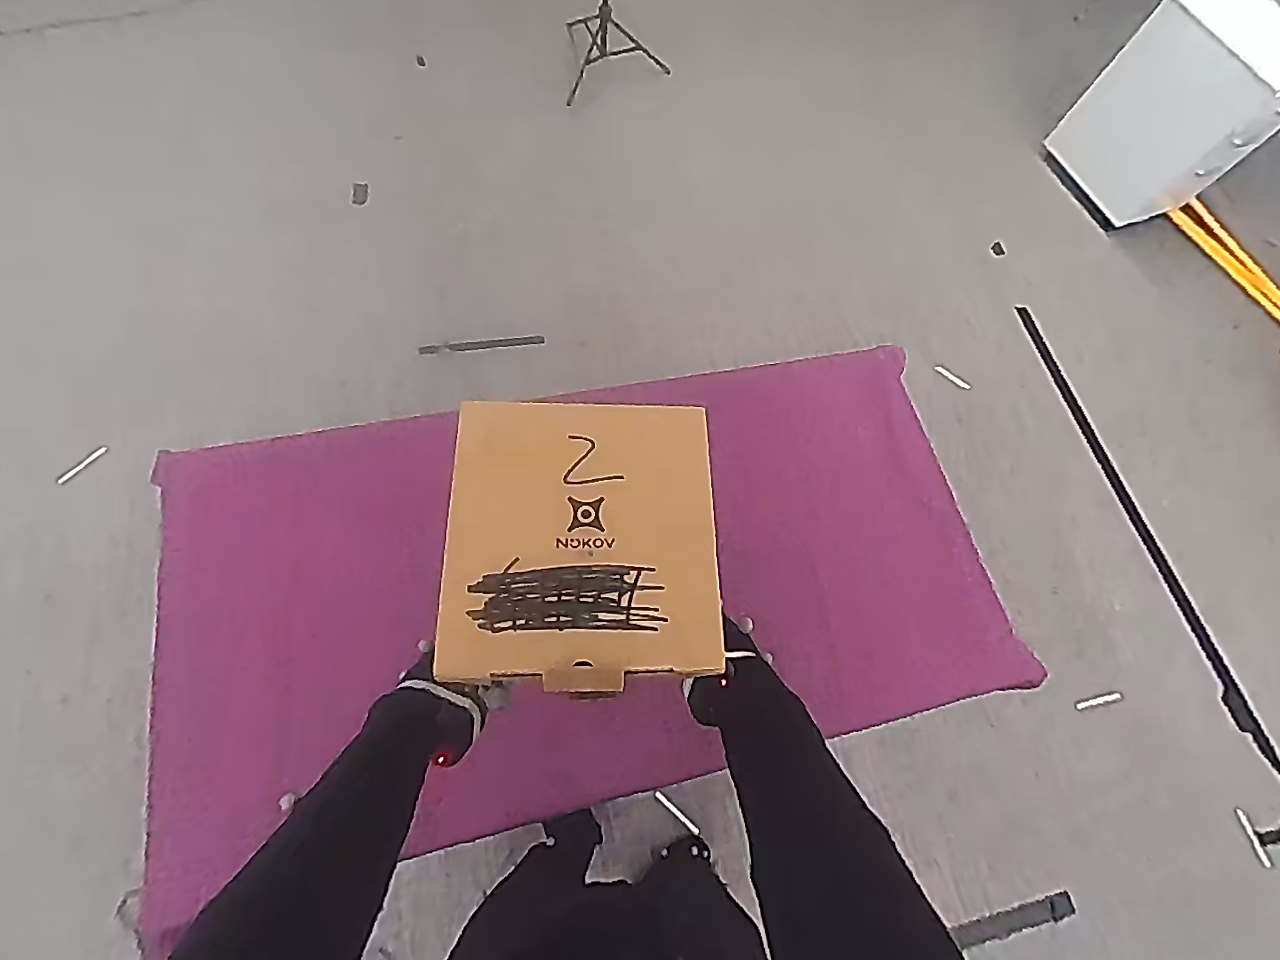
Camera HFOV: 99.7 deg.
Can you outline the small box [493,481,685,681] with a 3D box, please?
[{"bbox_3d":[-0.052,0.112,0.562,0.168,0.176,0.179,0,69,-6],"label":"small box"}]
